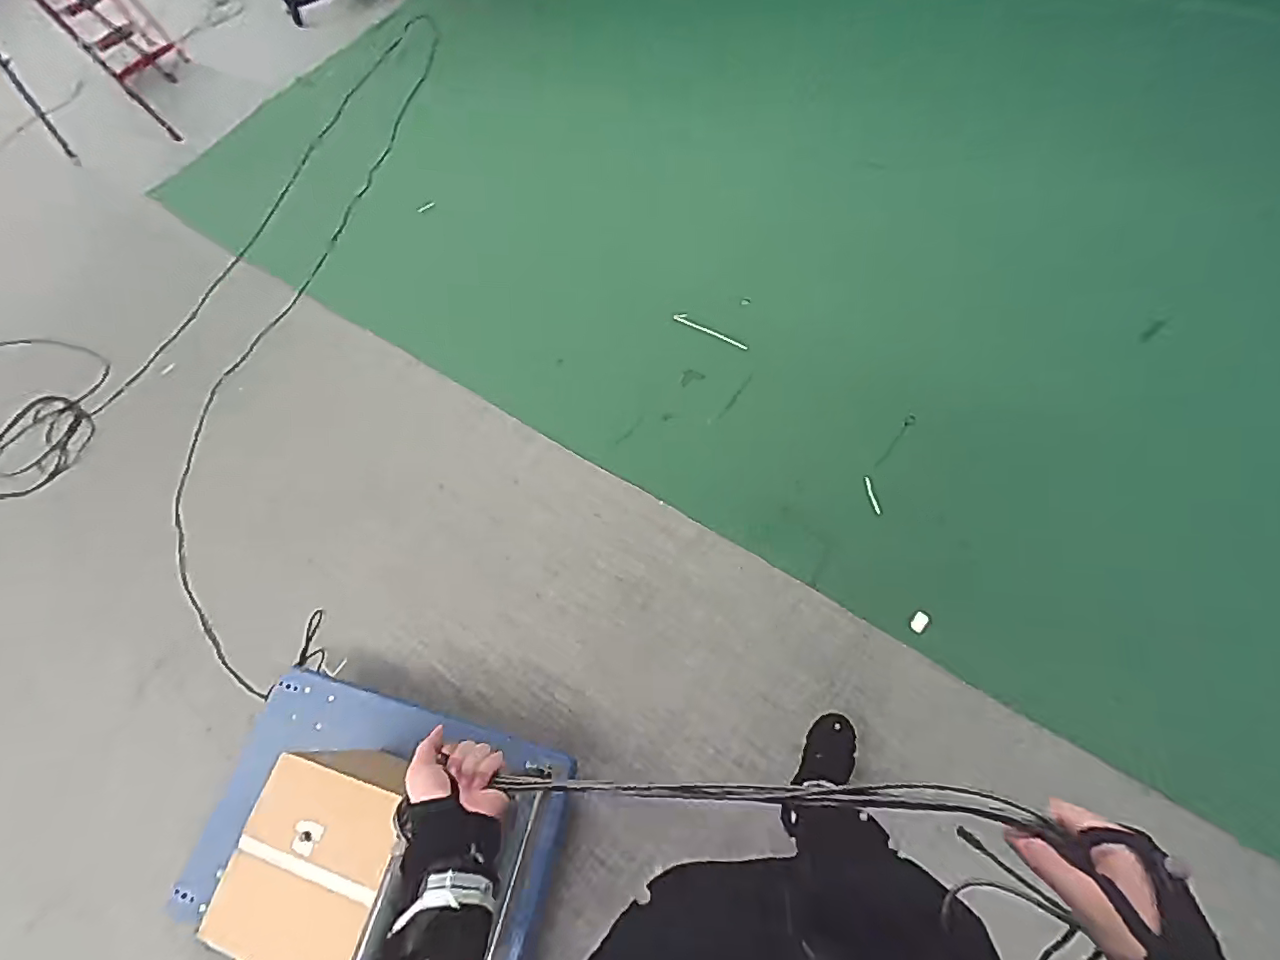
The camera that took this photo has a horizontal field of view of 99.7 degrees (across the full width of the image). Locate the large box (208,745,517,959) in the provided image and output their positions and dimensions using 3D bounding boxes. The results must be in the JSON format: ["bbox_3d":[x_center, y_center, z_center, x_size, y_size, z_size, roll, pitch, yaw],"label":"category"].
[{"bbox_3d":[-0.527,0.763,1.107,0.408,0.320,0.320,10,66,16],"label":"large box"}]
